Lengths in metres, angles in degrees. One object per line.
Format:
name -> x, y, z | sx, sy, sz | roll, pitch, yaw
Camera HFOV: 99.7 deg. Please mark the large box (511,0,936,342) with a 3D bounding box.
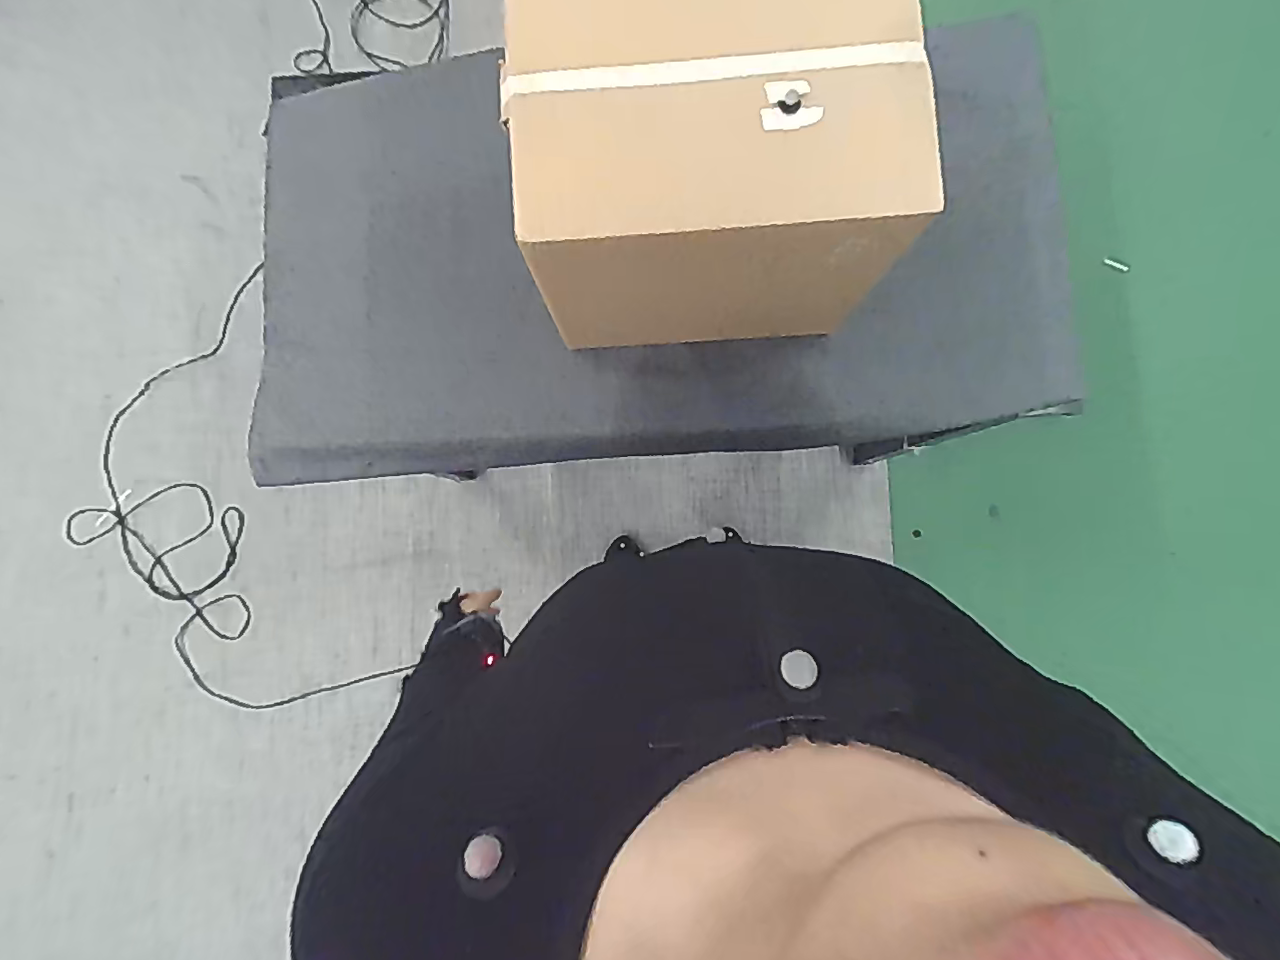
large box -> 0.078, -0.386, 0.682 | 0.408, 0.320, 0.320 | -4, 85, 1
